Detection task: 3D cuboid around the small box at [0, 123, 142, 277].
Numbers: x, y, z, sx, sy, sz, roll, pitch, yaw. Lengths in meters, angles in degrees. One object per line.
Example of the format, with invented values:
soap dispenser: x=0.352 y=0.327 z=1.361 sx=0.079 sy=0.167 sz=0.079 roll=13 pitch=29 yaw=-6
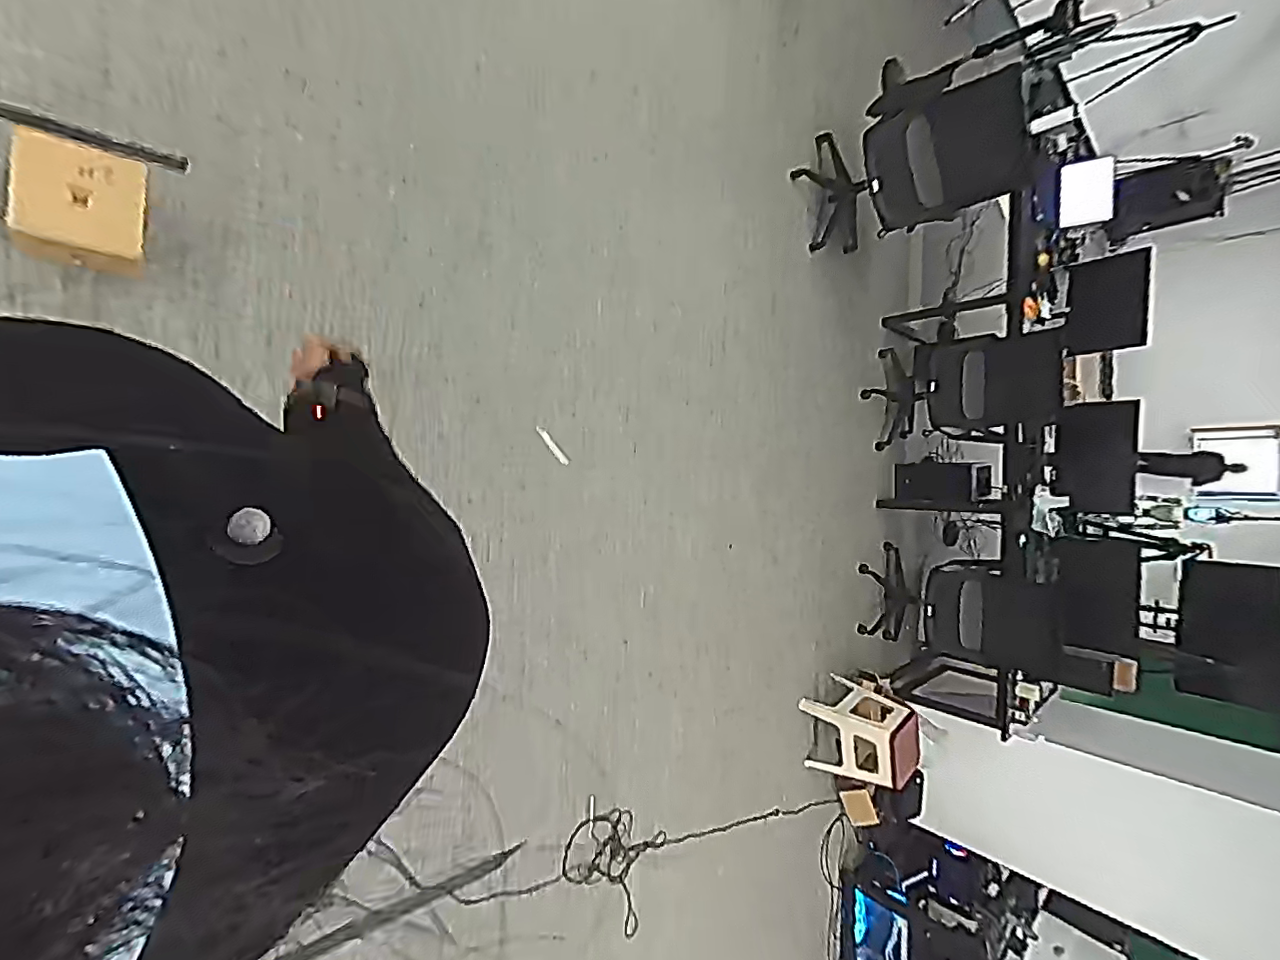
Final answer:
small box: x=-1.041 y=-0.499 z=0.999 sx=0.168 sy=0.176 sz=0.179 roll=5 pitch=87 yaw=-43
